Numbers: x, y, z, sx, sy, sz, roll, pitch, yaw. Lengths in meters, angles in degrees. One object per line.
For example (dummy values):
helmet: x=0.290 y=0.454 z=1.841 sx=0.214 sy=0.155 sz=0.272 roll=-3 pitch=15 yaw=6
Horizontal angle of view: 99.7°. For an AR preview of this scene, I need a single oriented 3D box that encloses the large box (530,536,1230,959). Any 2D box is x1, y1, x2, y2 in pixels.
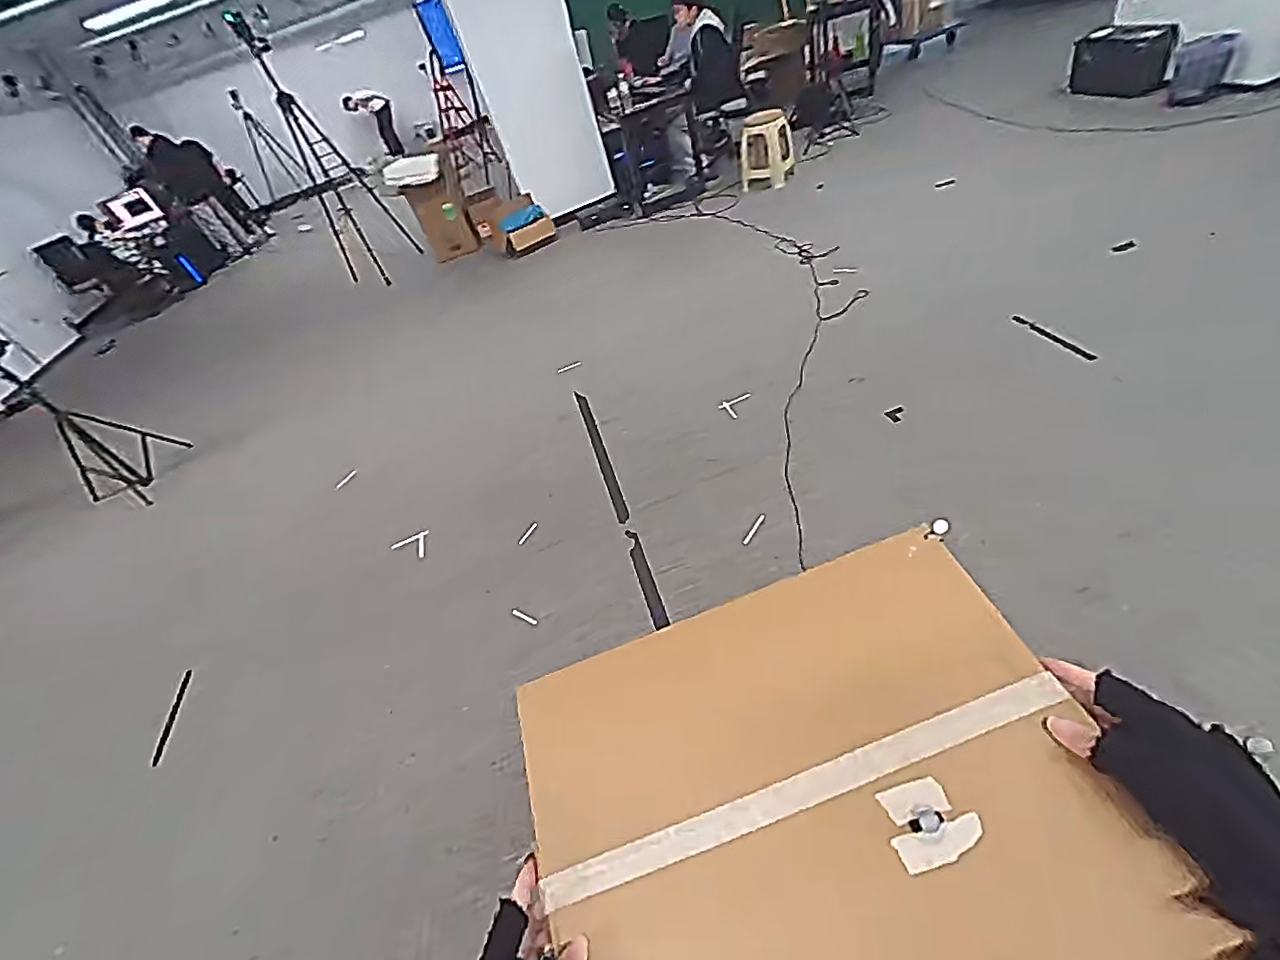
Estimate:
large box: x=0.157 y=0.323 z=0.523 sx=0.408 sy=0.320 sz=0.320 roll=-22 pitch=50 yaw=0
